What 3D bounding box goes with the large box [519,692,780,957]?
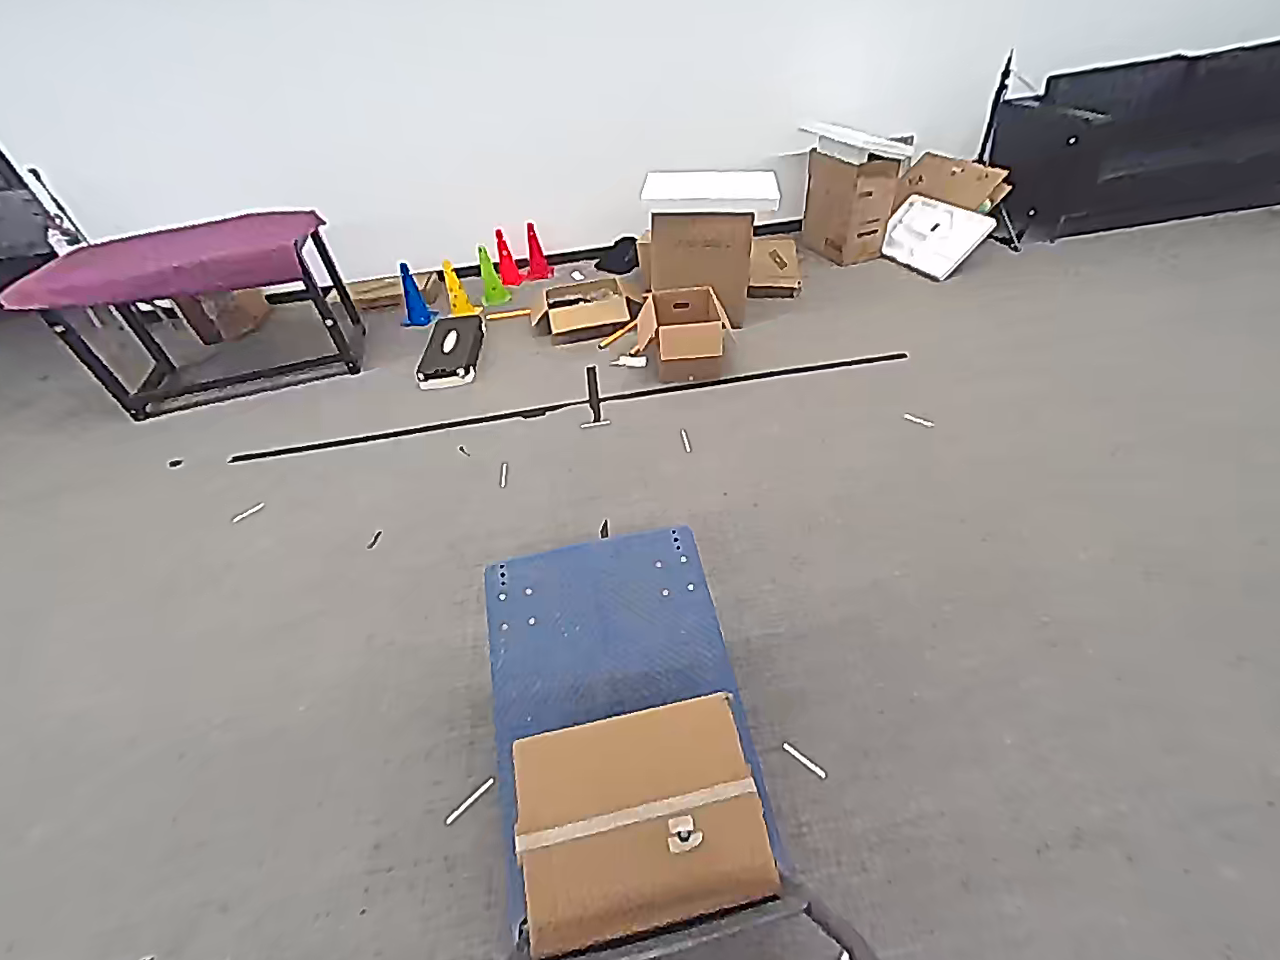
[{"bbox_3d":[0.004,0.648,1.060,0.408,0.320,0.320,-11,61,-7],"label":"large box"}]
